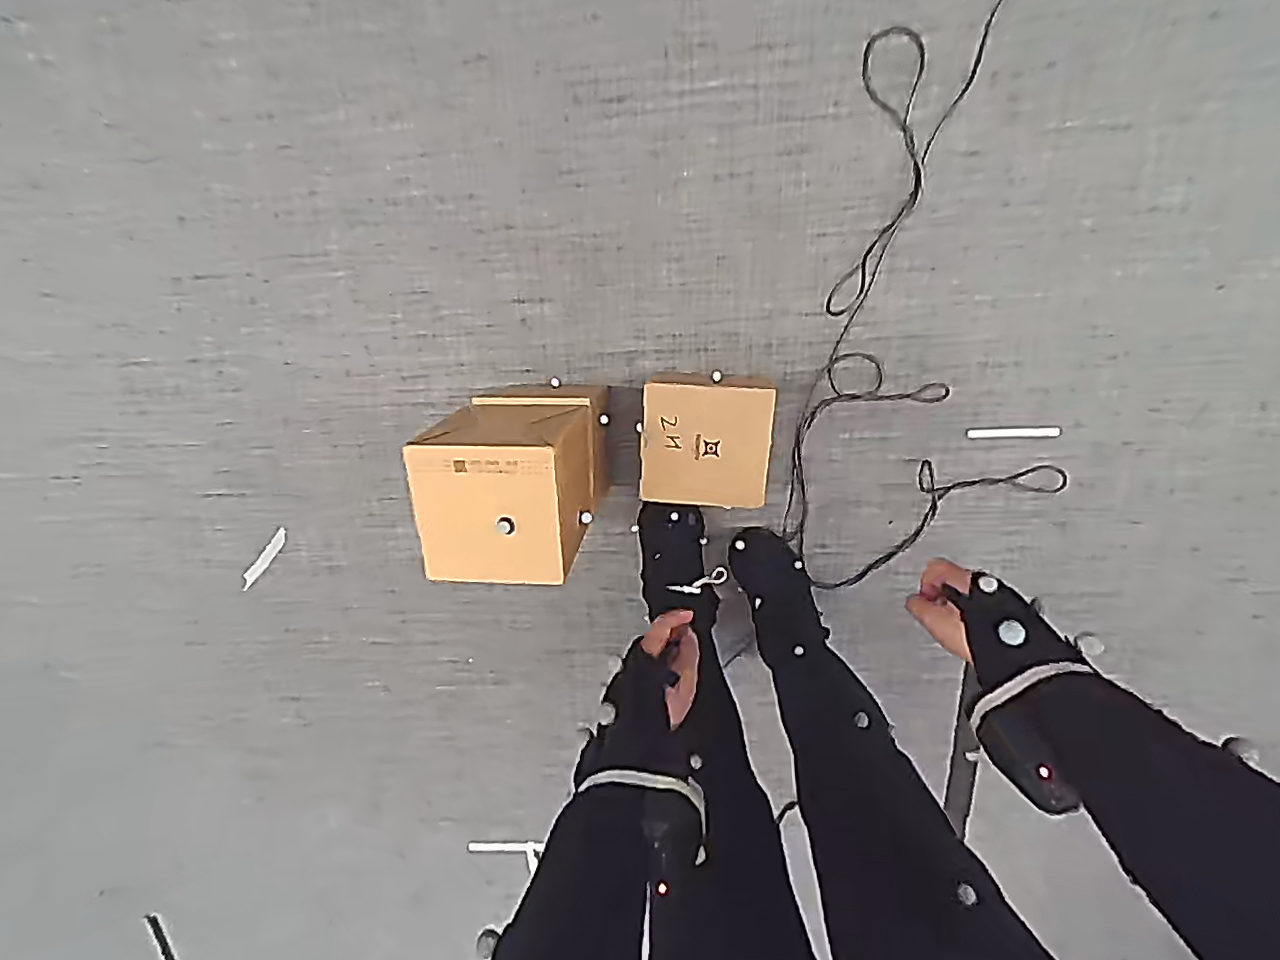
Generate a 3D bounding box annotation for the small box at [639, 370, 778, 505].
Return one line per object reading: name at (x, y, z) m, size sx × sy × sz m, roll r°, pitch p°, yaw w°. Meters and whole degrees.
small box at (0.094, -0.071, 0.799) m, size 0.179 × 0.176 × 0.168 m, roll 4°, pitch 106°, yaw 4°
